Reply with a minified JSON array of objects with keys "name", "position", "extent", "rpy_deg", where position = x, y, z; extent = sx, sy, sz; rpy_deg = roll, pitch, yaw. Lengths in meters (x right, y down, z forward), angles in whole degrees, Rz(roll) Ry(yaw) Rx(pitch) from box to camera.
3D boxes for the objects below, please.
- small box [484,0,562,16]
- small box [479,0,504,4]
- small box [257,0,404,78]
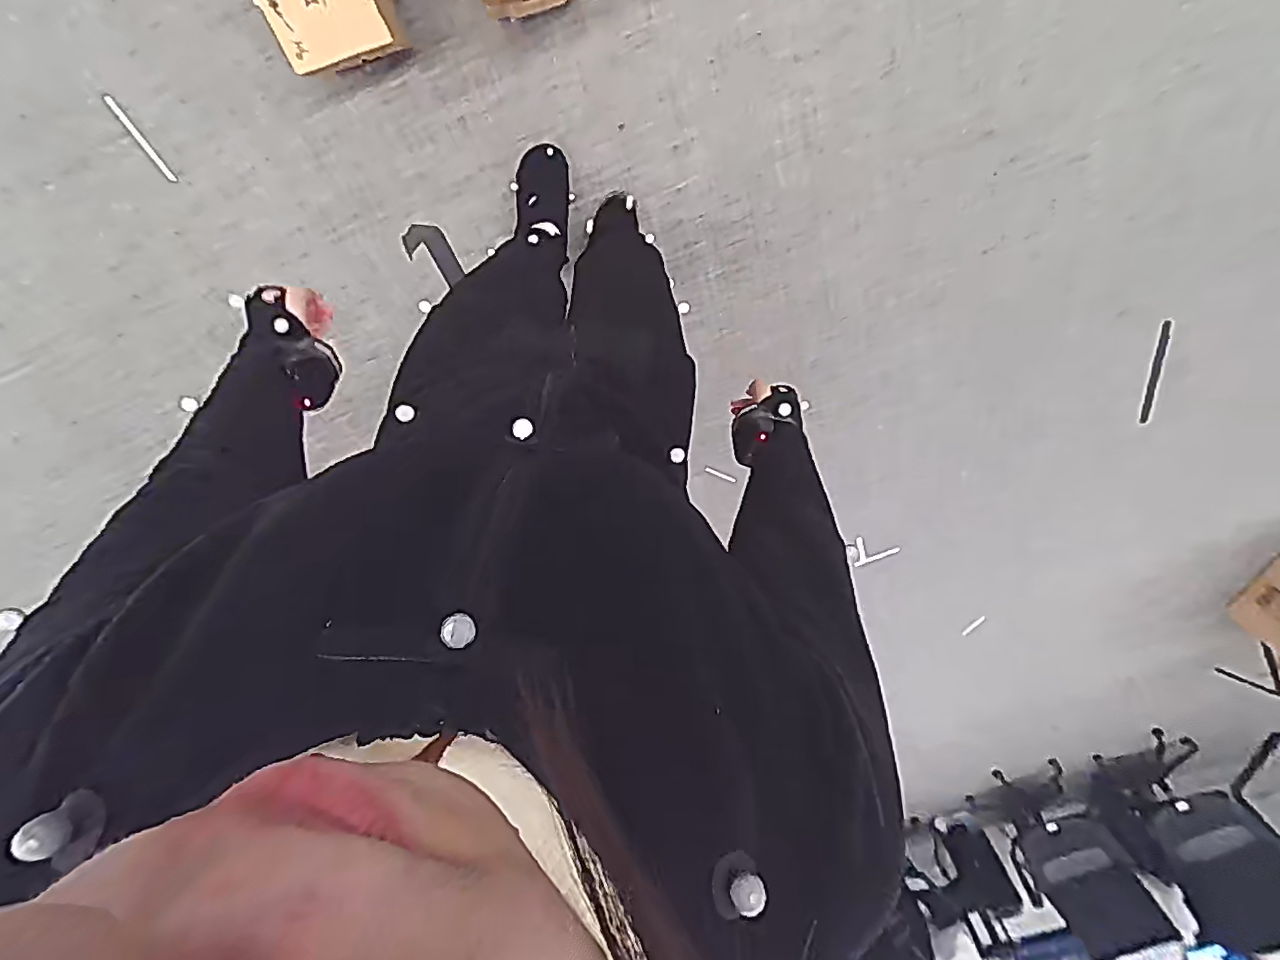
[{"name":"small box","position":[-0.200,-0.893,0.888],"extent":[0.168,0.176,0.179],"rpy_deg":[-16,127,2]},{"name":"small box","position":[-0.177,-0.799,0.756],"extent":[0.179,0.176,0.168],"rpy_deg":[-14,127,2]},{"name":"small box","position":[-0.518,-0.800,0.906],"extent":[0.179,0.176,0.168],"rpy_deg":[-16,128,2]}]
